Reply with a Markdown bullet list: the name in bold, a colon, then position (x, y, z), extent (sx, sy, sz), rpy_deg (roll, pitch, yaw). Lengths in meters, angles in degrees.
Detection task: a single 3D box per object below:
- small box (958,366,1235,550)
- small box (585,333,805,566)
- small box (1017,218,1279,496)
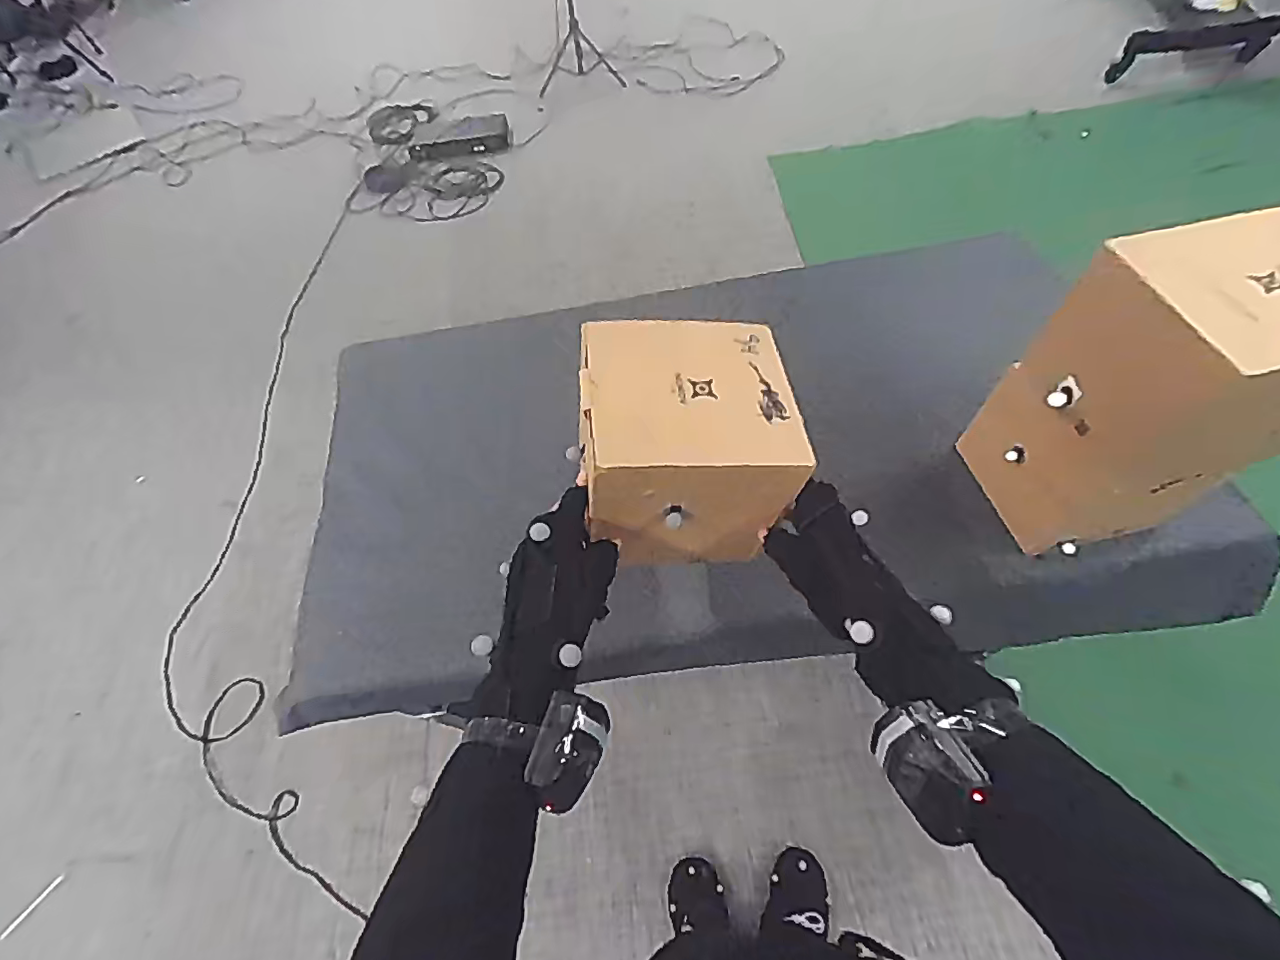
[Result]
- **small box**: position (0.527, -0.030, 0.648), extent (0.168, 0.176, 0.179), rpy_deg (-13, 57, -1)
- **small box**: position (0.035, -0.025, 0.533), extent (0.179, 0.176, 0.168), rpy_deg (-1, 55, -7)
- **small box**: position (0.511, -0.106, 0.506), extent (0.179, 0.176, 0.168), rpy_deg (-12, 57, 1)
